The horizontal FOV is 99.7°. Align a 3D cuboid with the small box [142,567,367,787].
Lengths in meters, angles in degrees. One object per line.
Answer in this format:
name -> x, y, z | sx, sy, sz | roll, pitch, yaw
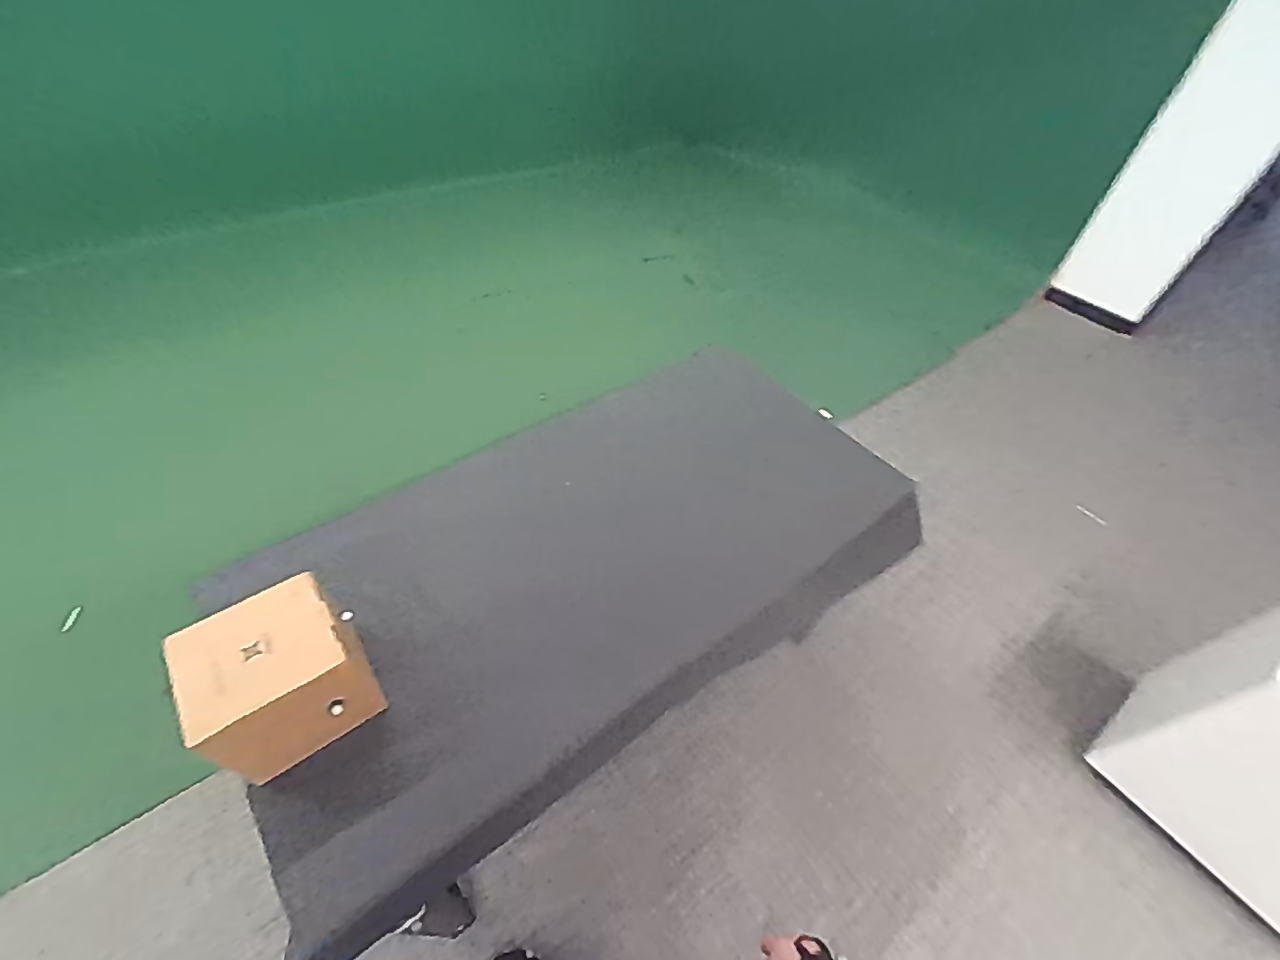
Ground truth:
small box -> -0.477, 0.252, 0.696 | 0.179, 0.176, 0.168 | -30, 56, -28
